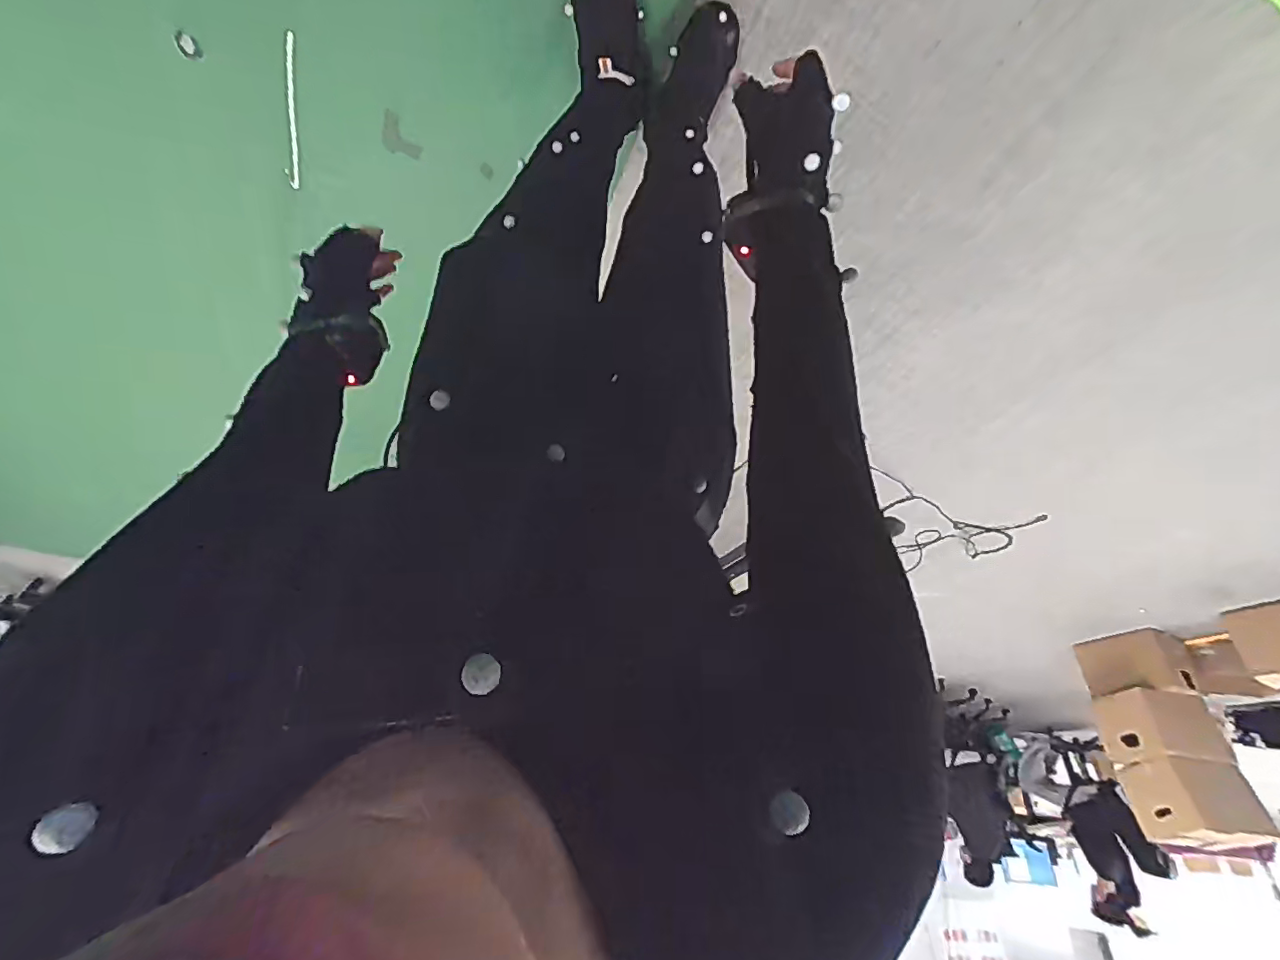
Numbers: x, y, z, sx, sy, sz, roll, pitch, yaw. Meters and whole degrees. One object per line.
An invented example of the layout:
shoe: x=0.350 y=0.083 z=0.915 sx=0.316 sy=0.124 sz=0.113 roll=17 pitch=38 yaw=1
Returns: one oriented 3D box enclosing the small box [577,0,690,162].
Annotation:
small box: x=-0.021 y=-0.713 z=0.964 sx=0.168 sy=0.176 sz=0.179 roll=2 pitch=149 yaw=-13
